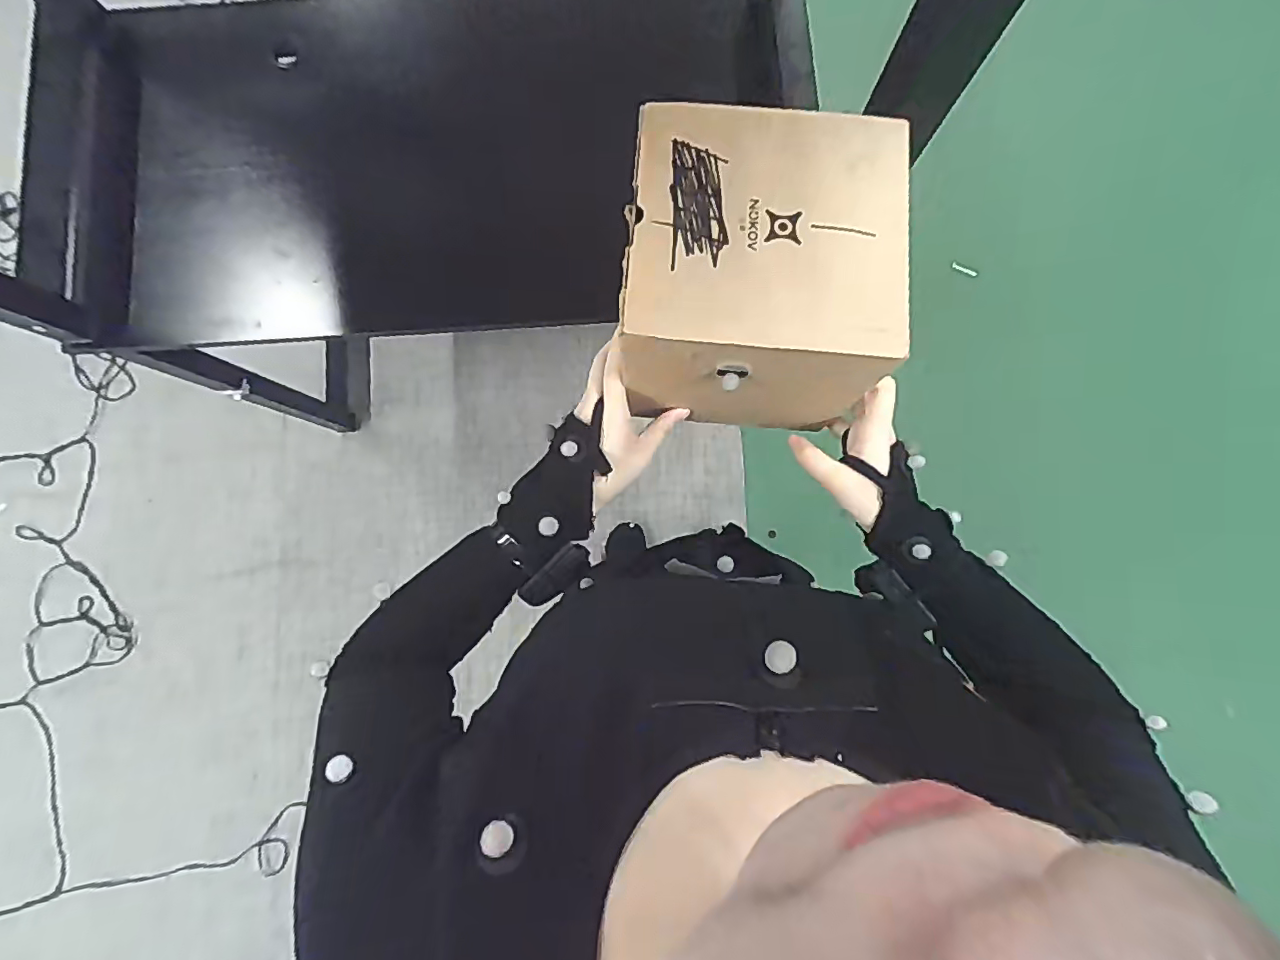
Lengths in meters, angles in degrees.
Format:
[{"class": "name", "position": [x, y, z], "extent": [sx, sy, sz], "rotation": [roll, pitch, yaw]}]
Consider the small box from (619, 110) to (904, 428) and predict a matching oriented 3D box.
[{"class": "small box", "position": [0.081, -0.145, 0.423], "extent": [0.179, 0.176, 0.168], "rotation": [5, 80, 0]}]
